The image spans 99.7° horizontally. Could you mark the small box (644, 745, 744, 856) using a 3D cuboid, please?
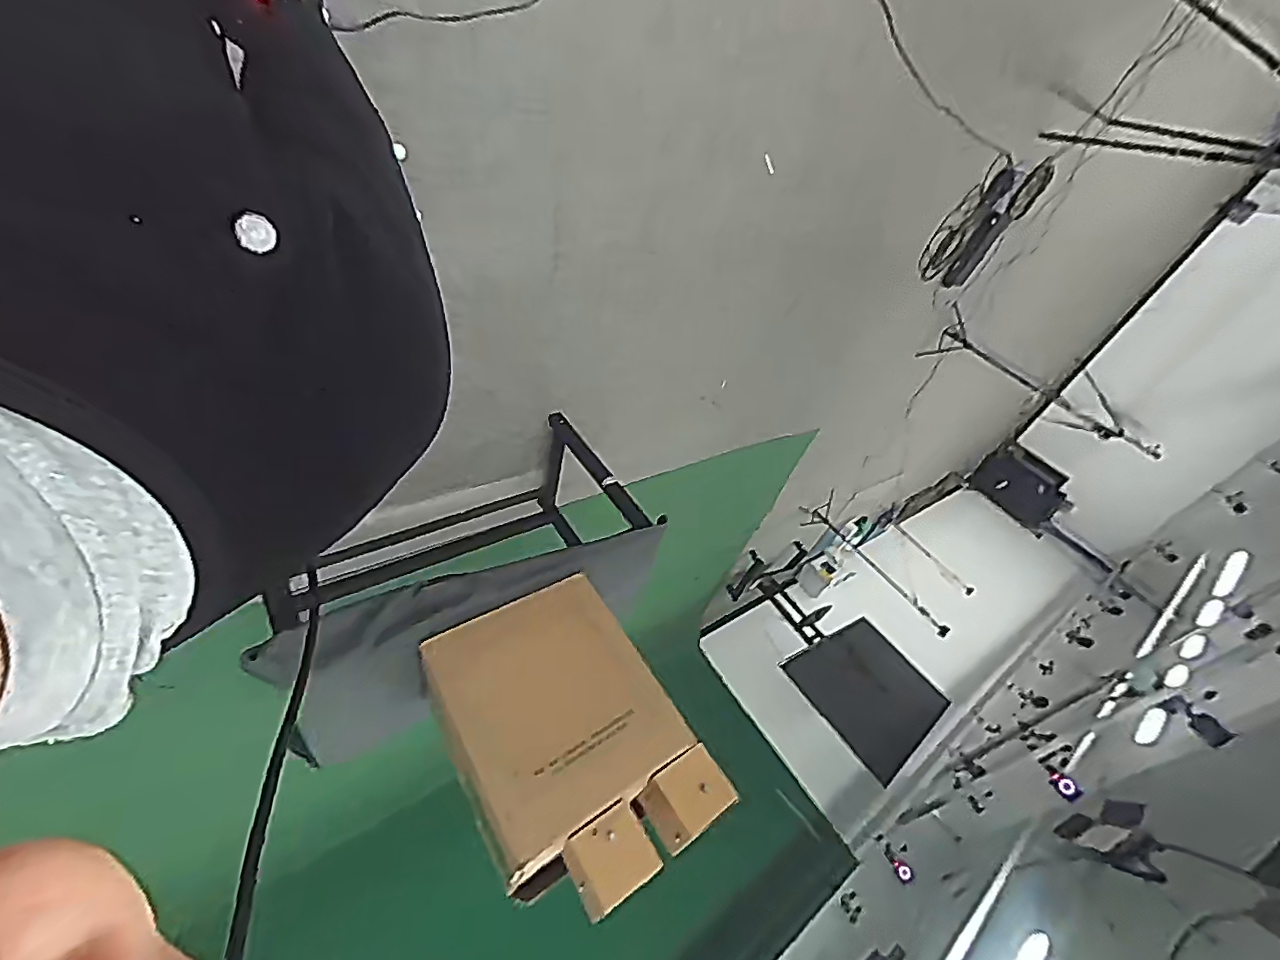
[{"bbox_3d":[0.140,0.856,1.459,0.179,0.176,0.168,-19,142,-37],"label":"small box"}]

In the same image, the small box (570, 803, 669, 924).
[{"bbox_3d":[-0.057,0.936,1.329,0.168,0.176,0.179,-20,143,-32],"label":"small box"}]
